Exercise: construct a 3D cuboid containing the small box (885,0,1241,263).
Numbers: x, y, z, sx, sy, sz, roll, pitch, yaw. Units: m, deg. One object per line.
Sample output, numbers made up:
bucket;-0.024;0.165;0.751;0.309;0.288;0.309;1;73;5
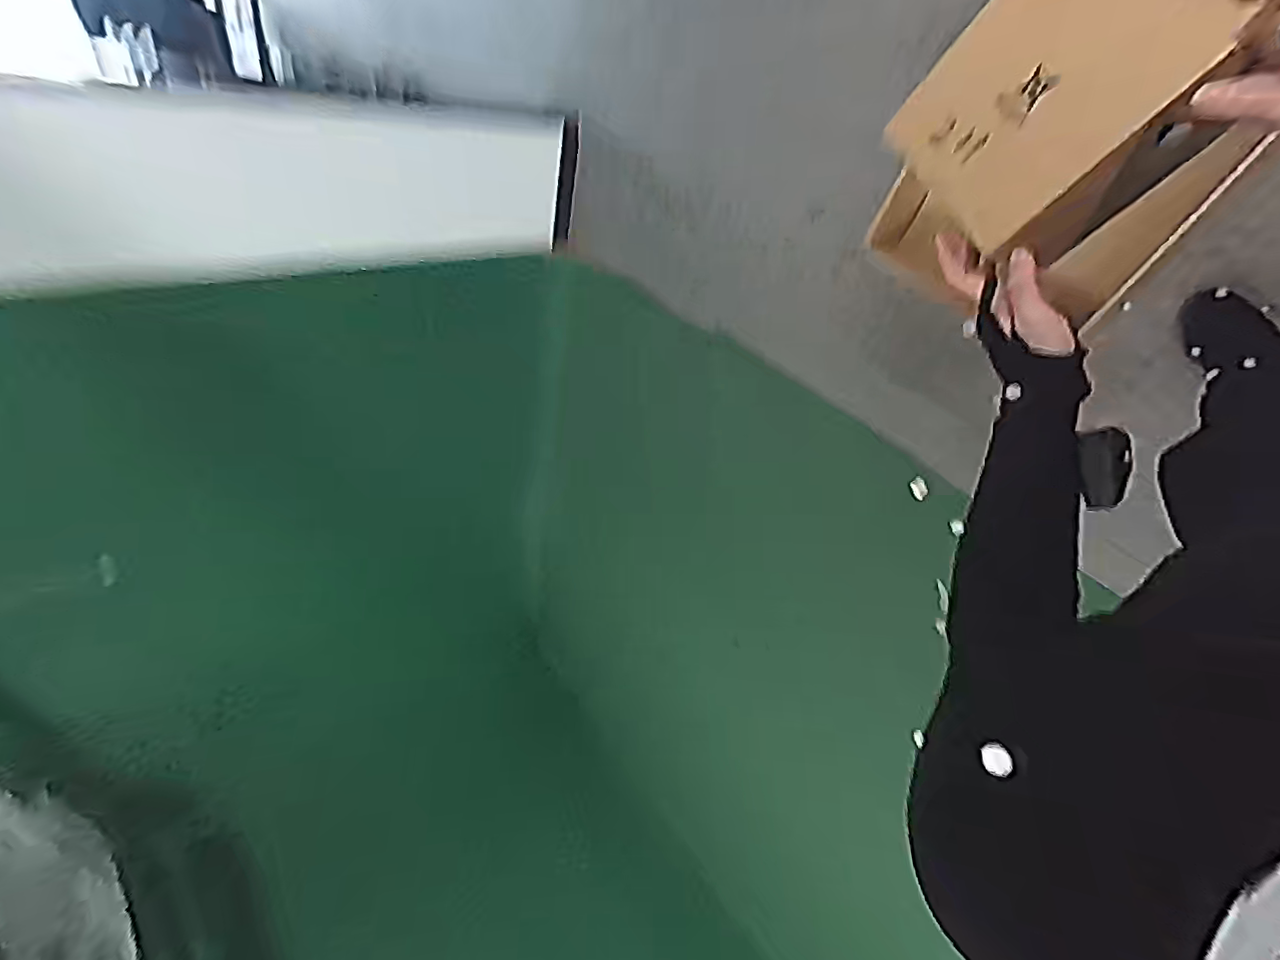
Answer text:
small box;0.370;-0.322;0.484;0.179;0.176;0.168;-46;64;46
